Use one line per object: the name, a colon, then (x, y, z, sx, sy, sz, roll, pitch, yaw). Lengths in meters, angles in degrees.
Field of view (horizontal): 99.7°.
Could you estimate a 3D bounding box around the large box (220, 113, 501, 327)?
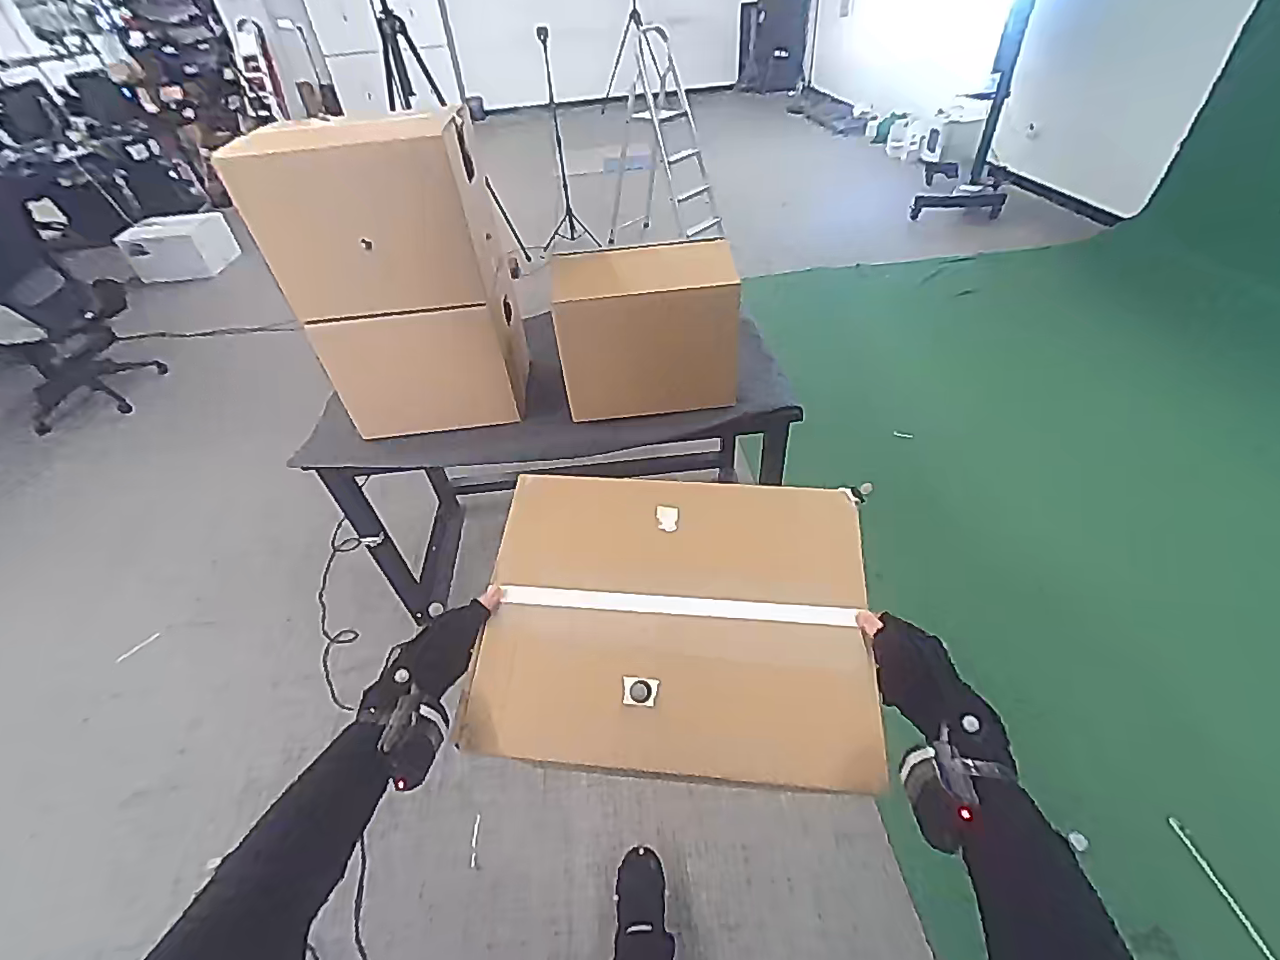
large box: (-0.537, -0.554, 1.151, 0.408, 0.320, 0.320, -7, 42, -1)
